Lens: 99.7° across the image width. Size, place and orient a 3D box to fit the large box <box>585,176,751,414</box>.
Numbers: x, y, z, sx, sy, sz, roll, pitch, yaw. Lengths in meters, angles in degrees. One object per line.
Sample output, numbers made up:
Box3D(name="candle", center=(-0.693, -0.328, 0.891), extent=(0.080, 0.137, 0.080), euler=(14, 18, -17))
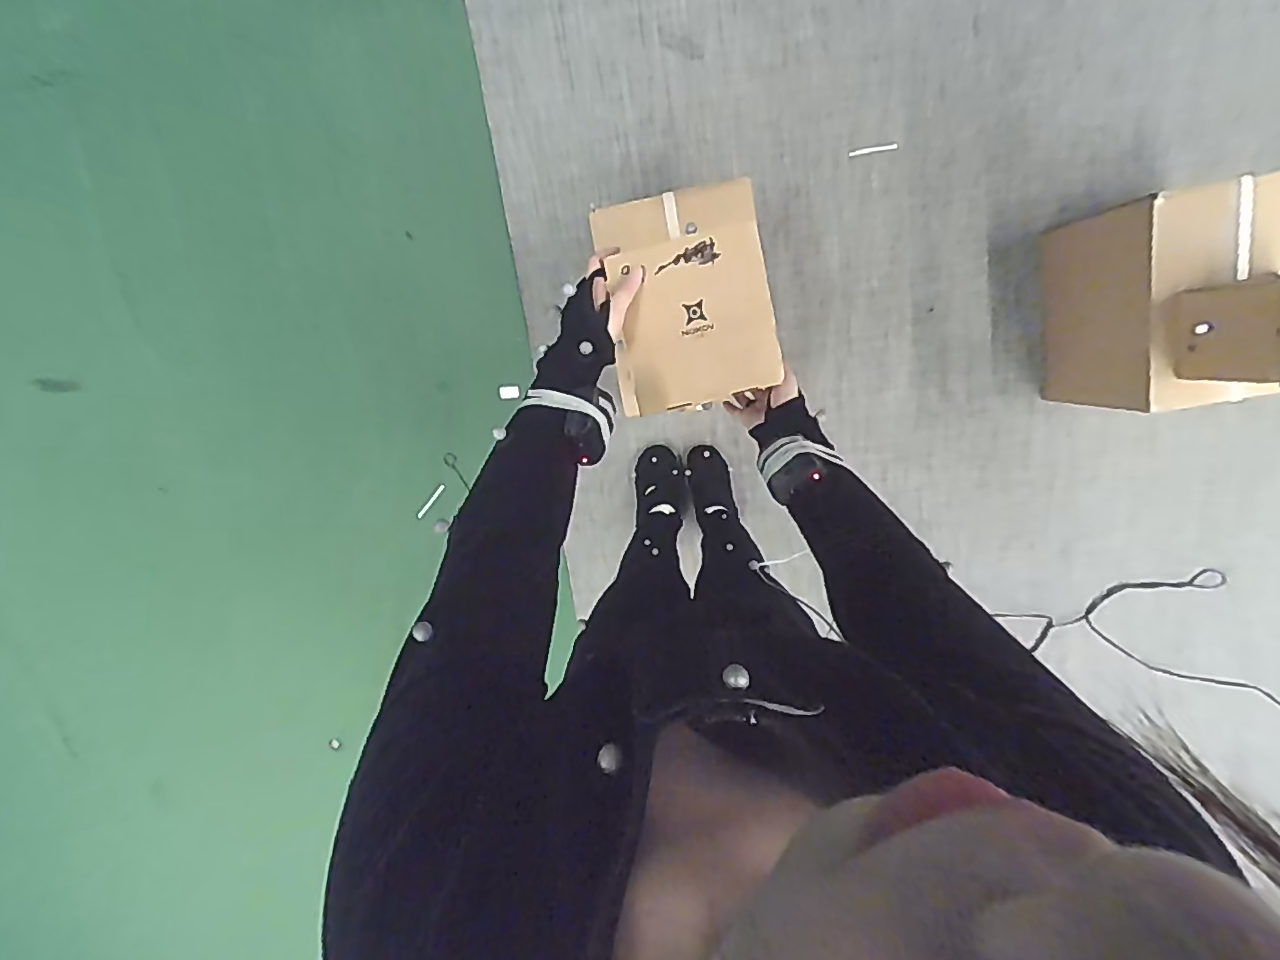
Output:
Box3D(name="large box", center=(0.089, -0.381, 1.200), extent=(0.320, 0.320, 0.408), euler=(-9, 102, 4))

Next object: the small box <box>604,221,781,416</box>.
Box3D(name="small box", center=(0.063, -0.189, 0.658), extent=(0.168, 0.176, 0.179), euler=(-12, 102, 5))

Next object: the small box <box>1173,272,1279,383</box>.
Box3D(name="small box", center=(1.099, -0.271, 0.942), extent=(0.179, 0.176, 0.168), euler=(-11, 103, 6))
